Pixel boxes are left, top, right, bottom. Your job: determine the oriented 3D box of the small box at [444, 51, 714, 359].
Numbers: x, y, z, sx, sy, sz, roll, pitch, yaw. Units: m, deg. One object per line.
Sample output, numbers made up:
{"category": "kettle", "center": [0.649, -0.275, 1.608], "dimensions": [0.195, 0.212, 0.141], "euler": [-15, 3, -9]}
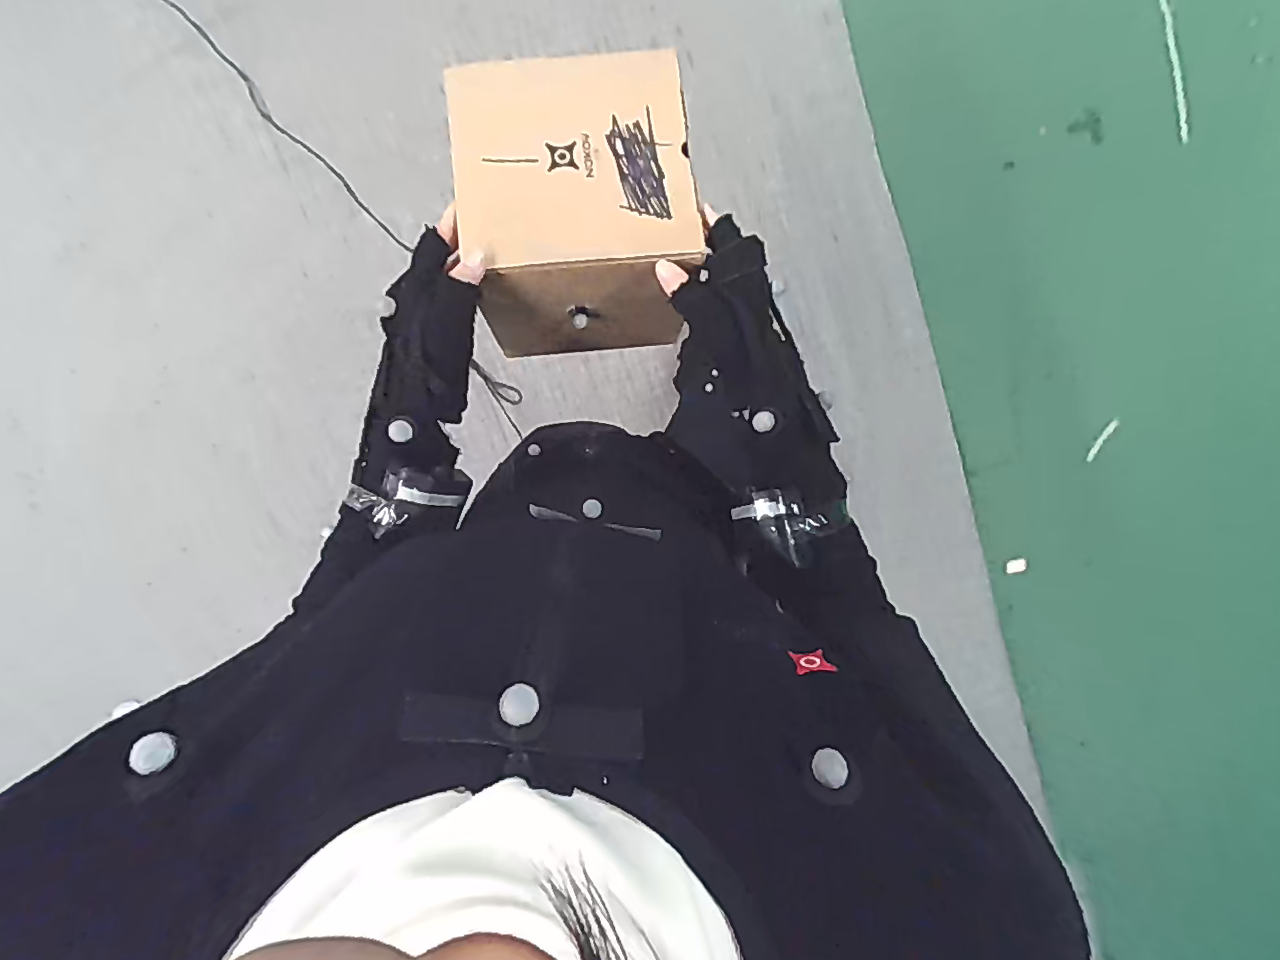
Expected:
{"category": "small box", "center": [-0.051, -0.219, 0.468], "dimensions": [0.179, 0.176, 0.168], "euler": [-10, 82, -6]}
